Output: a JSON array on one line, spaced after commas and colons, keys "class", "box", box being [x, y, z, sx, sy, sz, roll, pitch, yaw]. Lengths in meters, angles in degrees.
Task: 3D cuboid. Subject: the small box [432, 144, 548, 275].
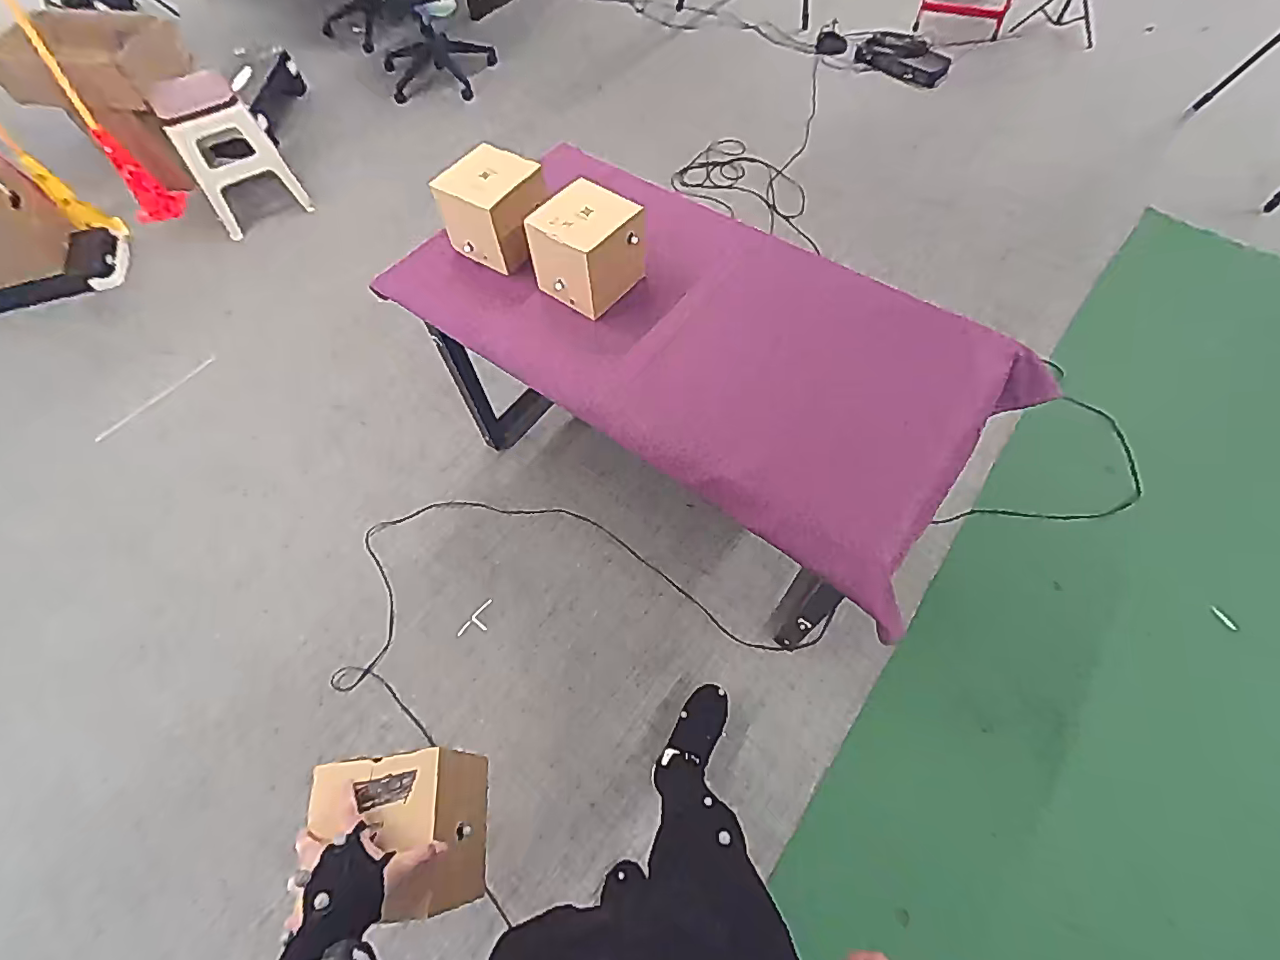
[{"class": "small box", "box": [-0.314, -0.591, 1.191, 0.168, 0.176, 0.179, 29, 66, 17]}]

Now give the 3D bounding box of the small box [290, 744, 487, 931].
[{"class": "small box", "box": [-0.311, 0.461, 0.713, 0.168, 0.176, 0.179, -10, 59, 4]}]

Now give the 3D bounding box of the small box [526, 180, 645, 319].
[{"class": "small box", "box": [-0.105, -0.474, 1.119, 0.168, 0.176, 0.179, 35, 68, 19]}]
